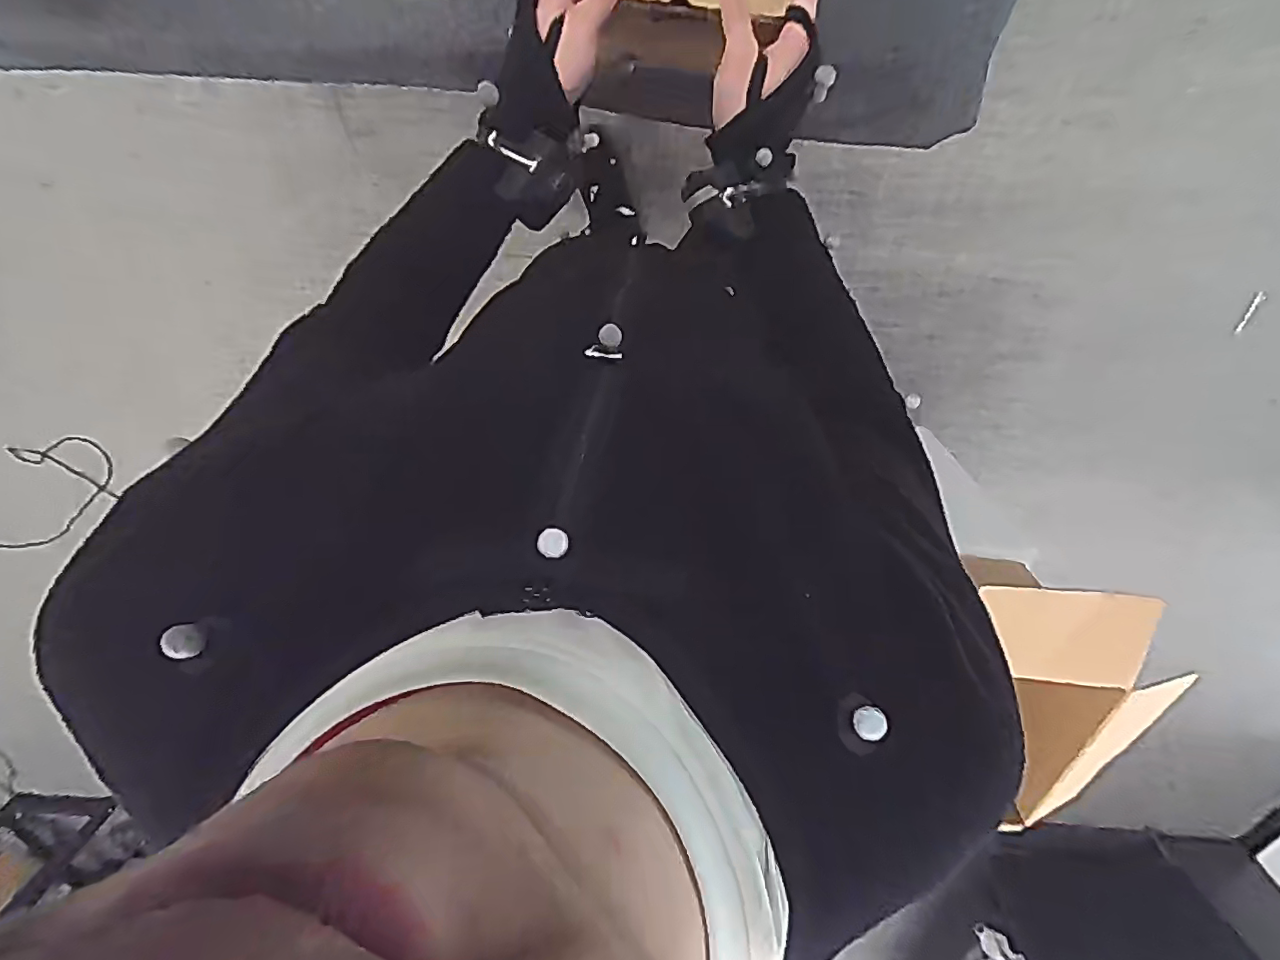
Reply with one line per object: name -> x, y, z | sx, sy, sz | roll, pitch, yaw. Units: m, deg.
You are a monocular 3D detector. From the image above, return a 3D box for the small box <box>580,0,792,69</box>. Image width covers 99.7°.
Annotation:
small box -> 0.049, -0.466, 0.442 | 0.168, 0.176, 0.179 | 8, 115, 0
